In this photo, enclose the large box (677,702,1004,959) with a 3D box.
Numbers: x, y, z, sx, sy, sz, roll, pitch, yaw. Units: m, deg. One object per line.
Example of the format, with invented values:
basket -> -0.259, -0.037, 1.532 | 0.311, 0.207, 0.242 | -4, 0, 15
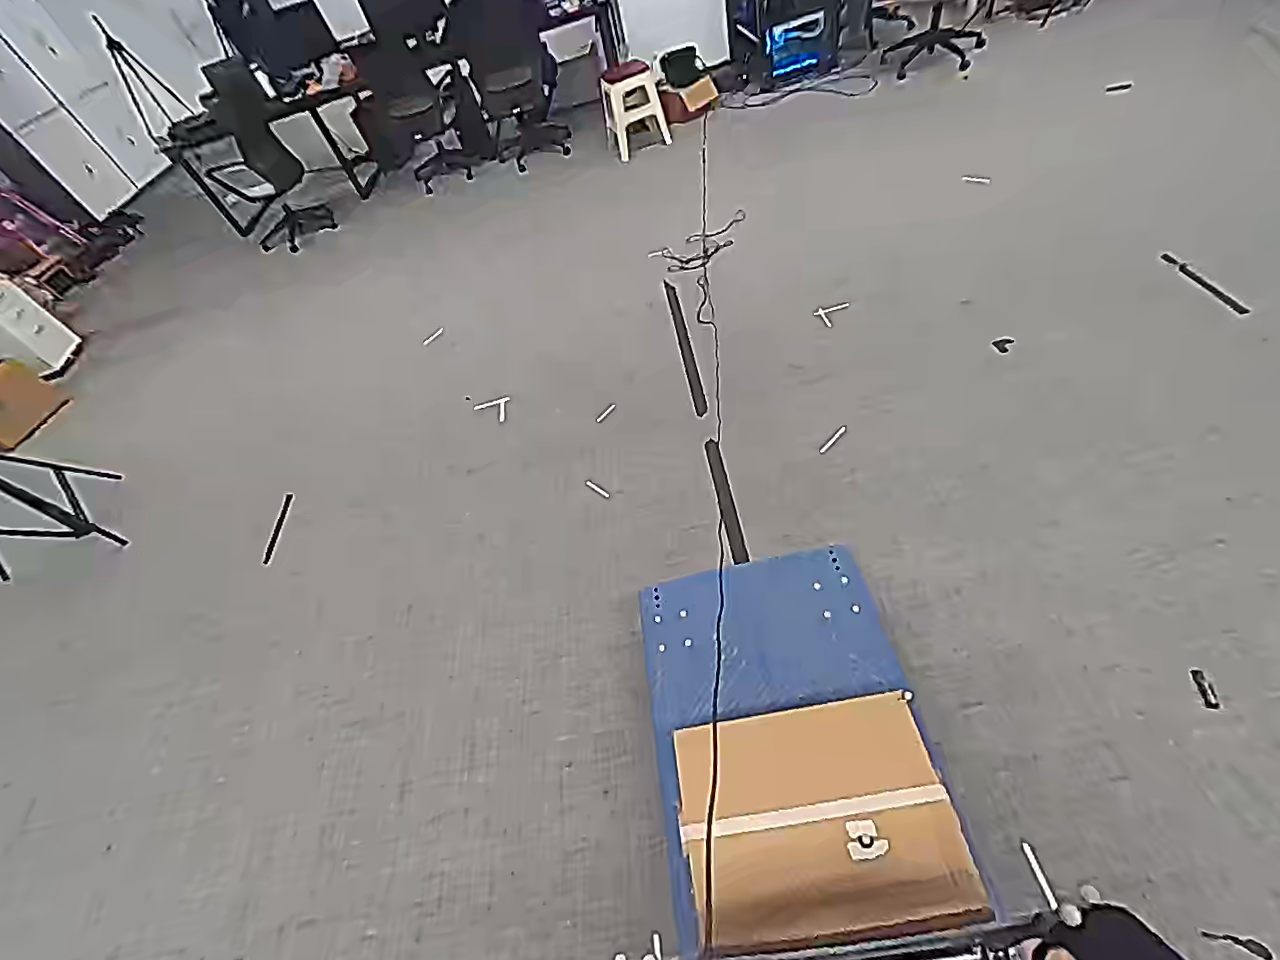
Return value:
large box -> 0.302, 0.625, 0.931 | 0.408, 0.320, 0.320 | -13, 49, 6
